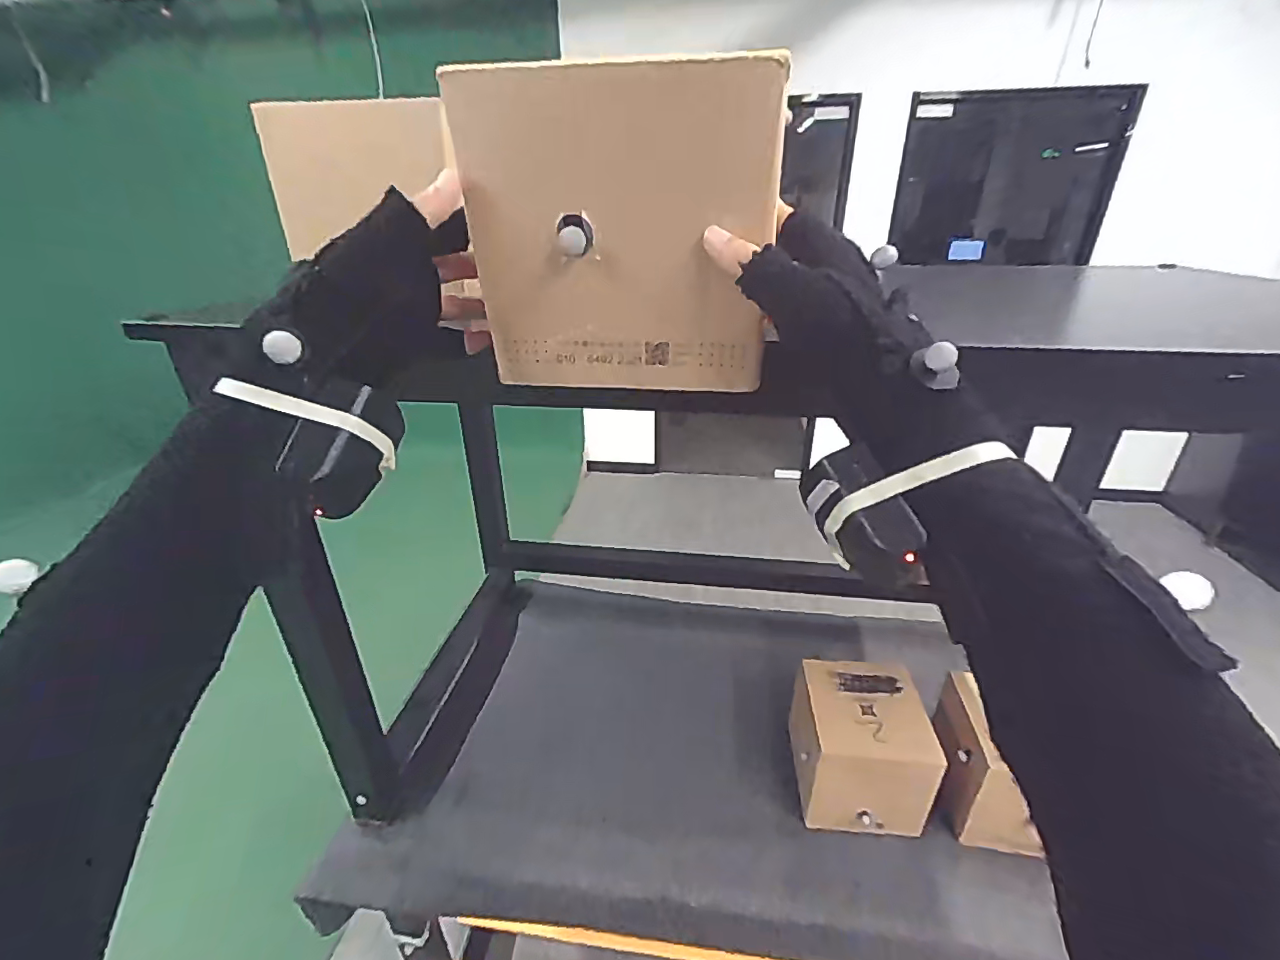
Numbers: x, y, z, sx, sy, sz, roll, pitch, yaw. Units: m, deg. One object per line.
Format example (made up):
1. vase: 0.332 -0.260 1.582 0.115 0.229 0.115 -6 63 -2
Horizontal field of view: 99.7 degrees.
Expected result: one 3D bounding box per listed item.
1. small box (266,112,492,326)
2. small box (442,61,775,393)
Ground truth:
1. small box: -0.223 -0.260 0.549 0.168 0.176 0.179 4 27 8
2. small box: -0.003 -0.169 0.366 0.168 0.176 0.179 3 35 7
